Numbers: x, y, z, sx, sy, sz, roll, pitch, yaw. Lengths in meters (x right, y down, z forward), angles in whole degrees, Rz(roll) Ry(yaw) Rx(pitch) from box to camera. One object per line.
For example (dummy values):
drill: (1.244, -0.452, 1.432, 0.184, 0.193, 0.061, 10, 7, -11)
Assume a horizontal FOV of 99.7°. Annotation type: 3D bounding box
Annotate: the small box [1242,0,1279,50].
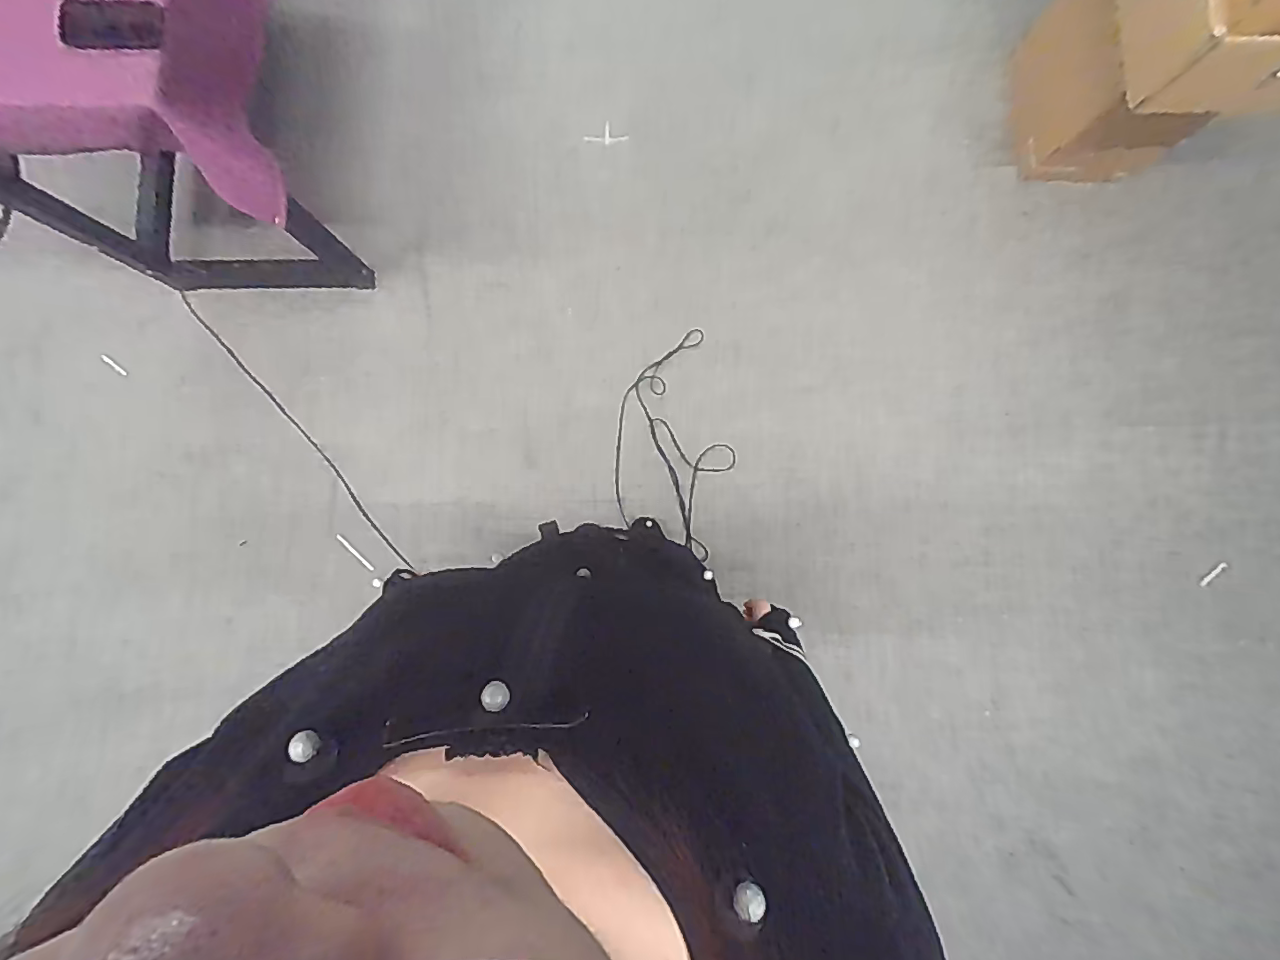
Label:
small box: (1.317, -0.958, 1.027, 0.179, 0.176, 0.168, 6, 87, 2)
